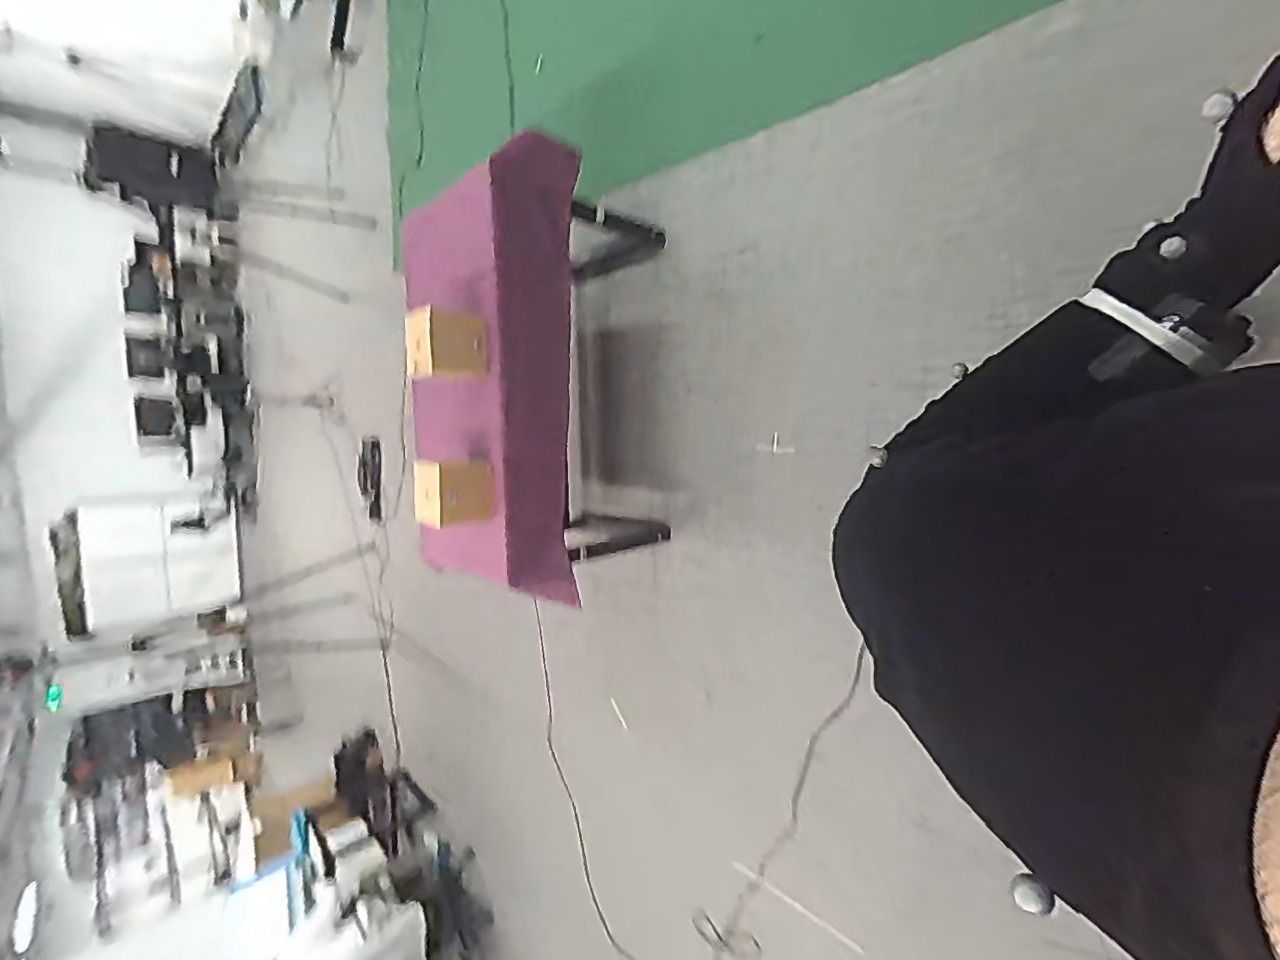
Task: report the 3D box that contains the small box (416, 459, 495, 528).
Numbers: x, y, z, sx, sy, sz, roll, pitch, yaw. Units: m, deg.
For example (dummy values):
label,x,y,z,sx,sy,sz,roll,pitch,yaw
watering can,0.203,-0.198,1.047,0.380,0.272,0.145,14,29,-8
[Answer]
label,x,y,z,sx,sy,sz,roll,pitch,yaw
small box,-0.542,0.033,1.593,0.168,0.176,0.179,8,99,44

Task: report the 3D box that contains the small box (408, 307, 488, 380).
label,x,y,z,sx,sy,sz,roll,pitch,yaw
small box,-0.550,-0.387,1.558,0.168,0.176,0.179,7,98,45
